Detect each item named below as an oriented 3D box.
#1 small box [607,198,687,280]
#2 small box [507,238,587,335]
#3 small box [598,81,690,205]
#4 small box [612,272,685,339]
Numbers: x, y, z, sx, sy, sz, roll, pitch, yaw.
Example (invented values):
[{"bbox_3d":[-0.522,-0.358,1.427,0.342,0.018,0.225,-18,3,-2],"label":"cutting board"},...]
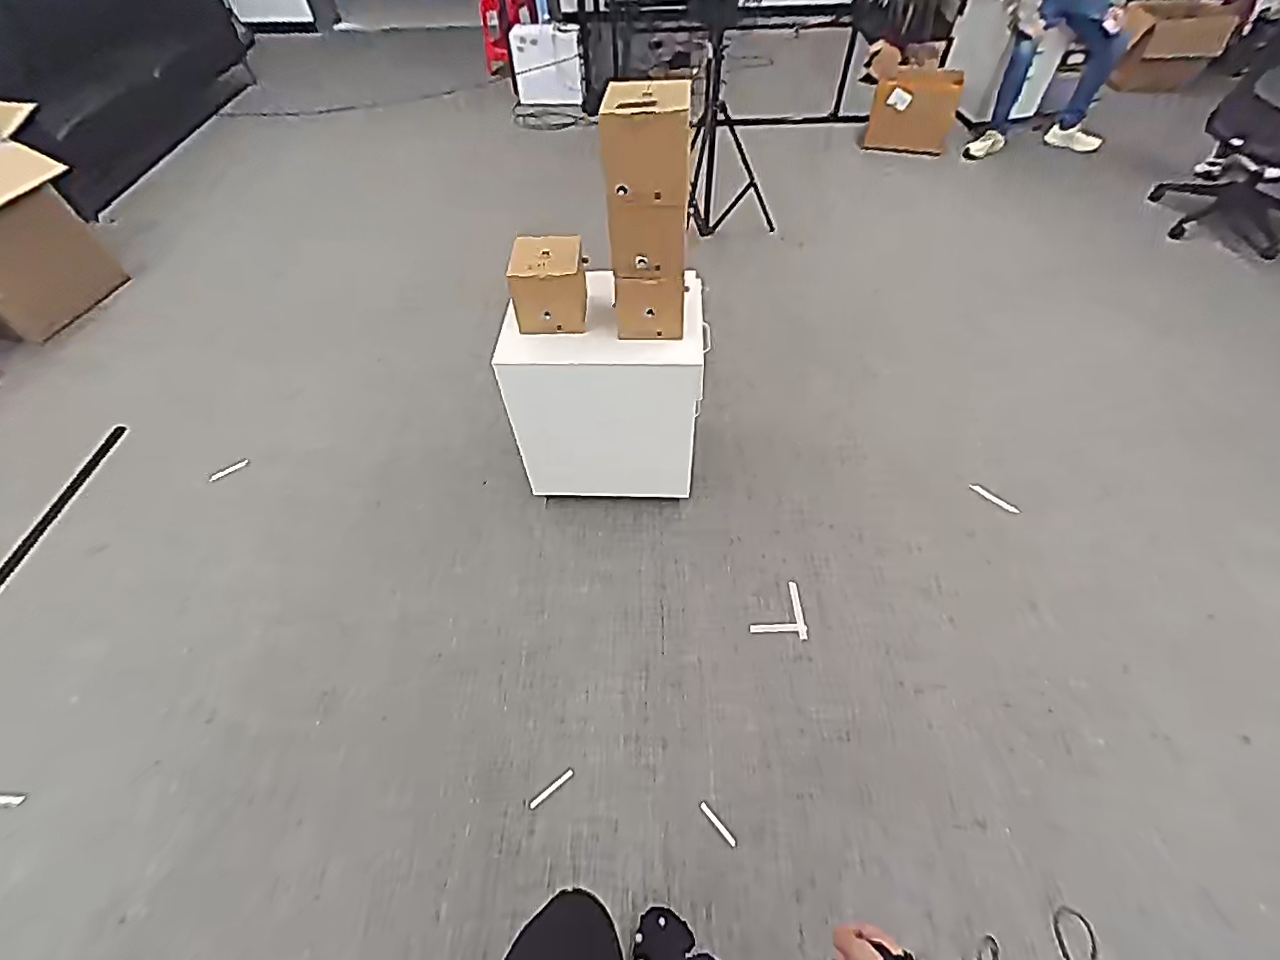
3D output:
[{"bbox_3d":[0.022,-0.573,1.217,0.168,0.176,0.179,0,53,5],"label":"small box"},{"bbox_3d":[-0.226,-0.488,1.366,0.168,0.176,0.179,-1,53,1],"label":"small box"},{"bbox_3d":[0.016,-0.671,1.085,0.168,0.176,0.179,2,51,5],"label":"small box"},{"bbox_3d":[0.027,-0.467,1.342,0.168,0.176,0.179,1,54,4],"label":"small box"}]
